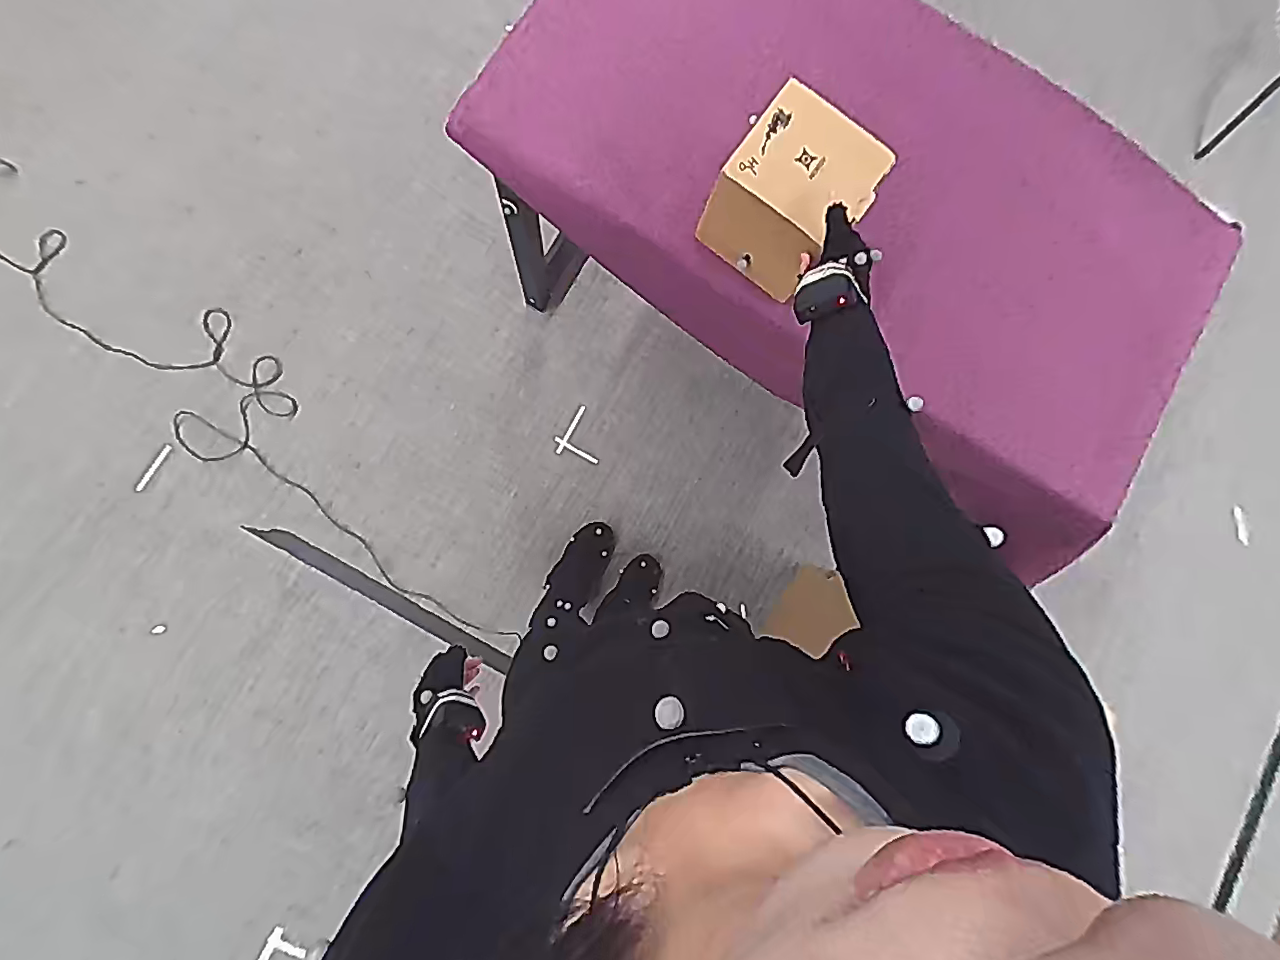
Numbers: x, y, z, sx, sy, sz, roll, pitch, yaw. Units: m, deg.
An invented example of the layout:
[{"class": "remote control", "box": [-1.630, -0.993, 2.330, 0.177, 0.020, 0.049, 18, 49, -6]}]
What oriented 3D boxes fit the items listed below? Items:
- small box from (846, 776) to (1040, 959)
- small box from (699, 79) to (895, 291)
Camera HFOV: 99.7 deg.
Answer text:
[{"class": "small box", "box": [0.447, 0.603, 0.830, 0.168, 0.176, 0.179, 32, 81, -3]}, {"class": "small box", "box": [0.210, -0.398, 0.770, 0.179, 0.176, 0.168, 36, 83, -3]}]
